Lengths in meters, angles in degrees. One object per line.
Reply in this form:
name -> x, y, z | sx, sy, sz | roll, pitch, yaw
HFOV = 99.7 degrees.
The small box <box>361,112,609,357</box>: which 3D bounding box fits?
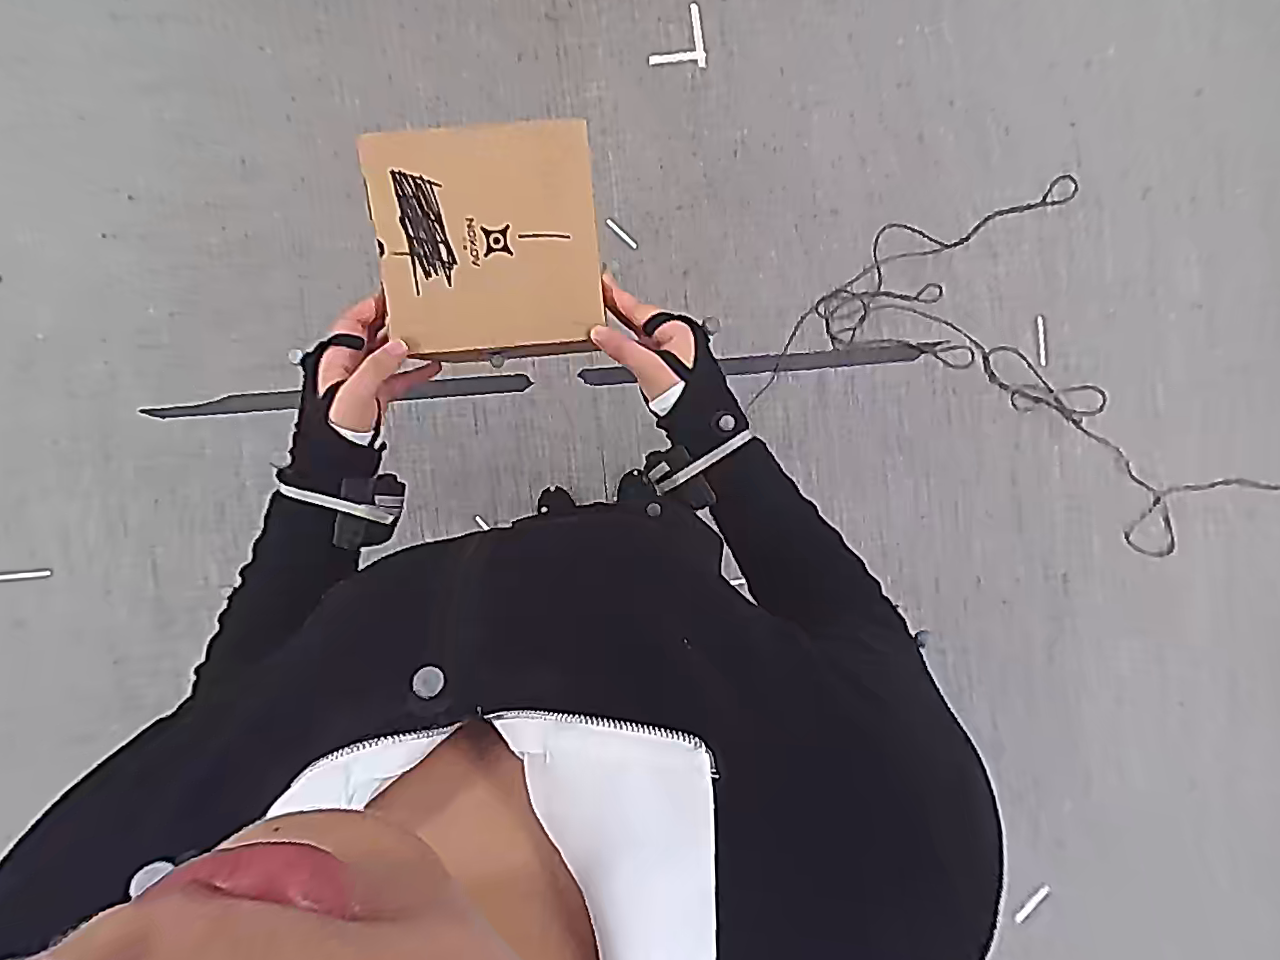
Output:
small box -> -0.123, -0.207, 0.501 | 0.179, 0.176, 0.168 | -6, 101, -3
